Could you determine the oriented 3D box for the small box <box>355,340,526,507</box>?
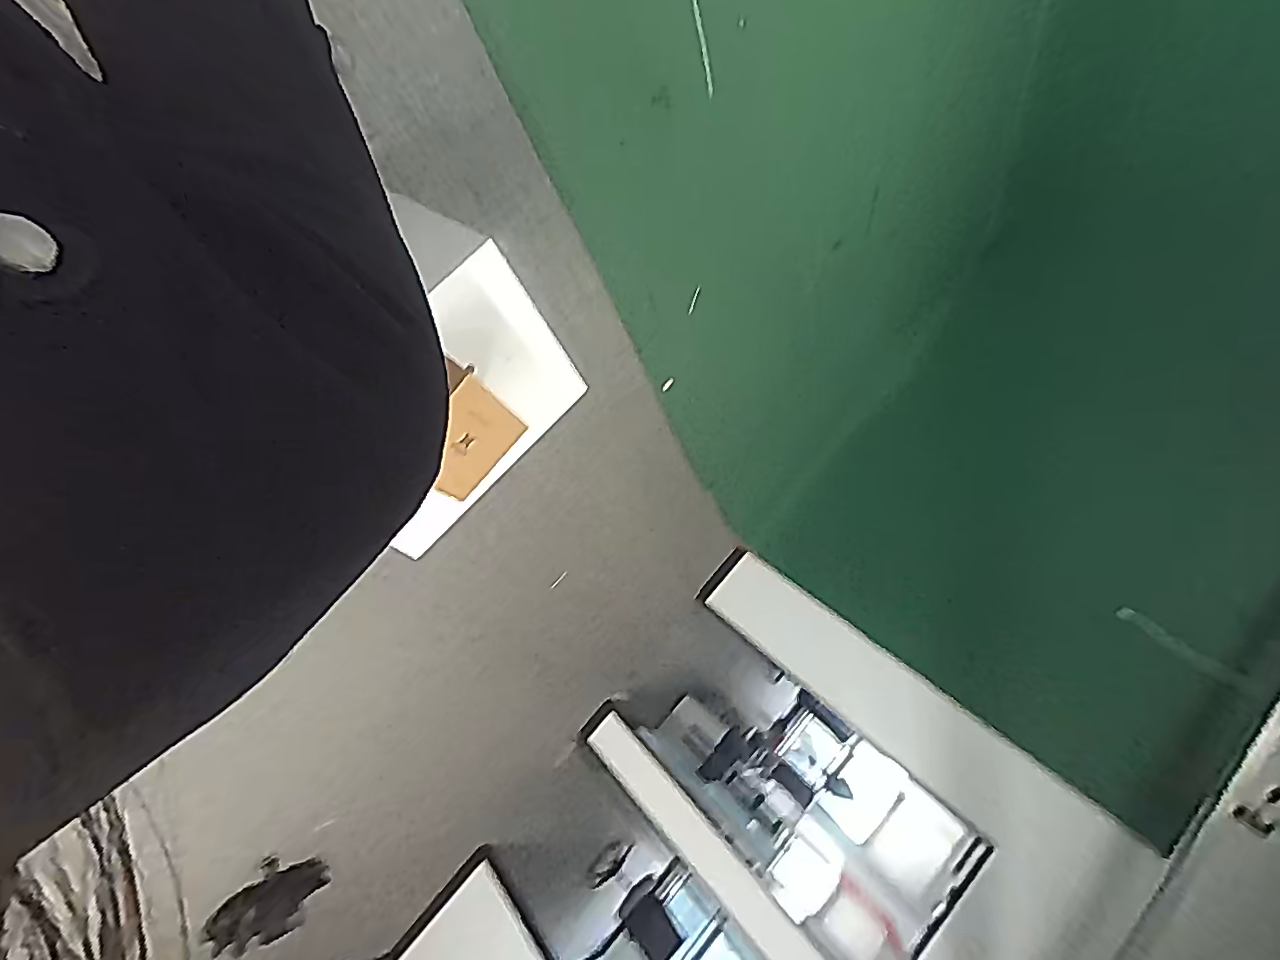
[{"bbox_3d":[-0.329,-0.093,0.881,0.179,0.176,0.168,-50,148,-5],"label":"small box"}]
